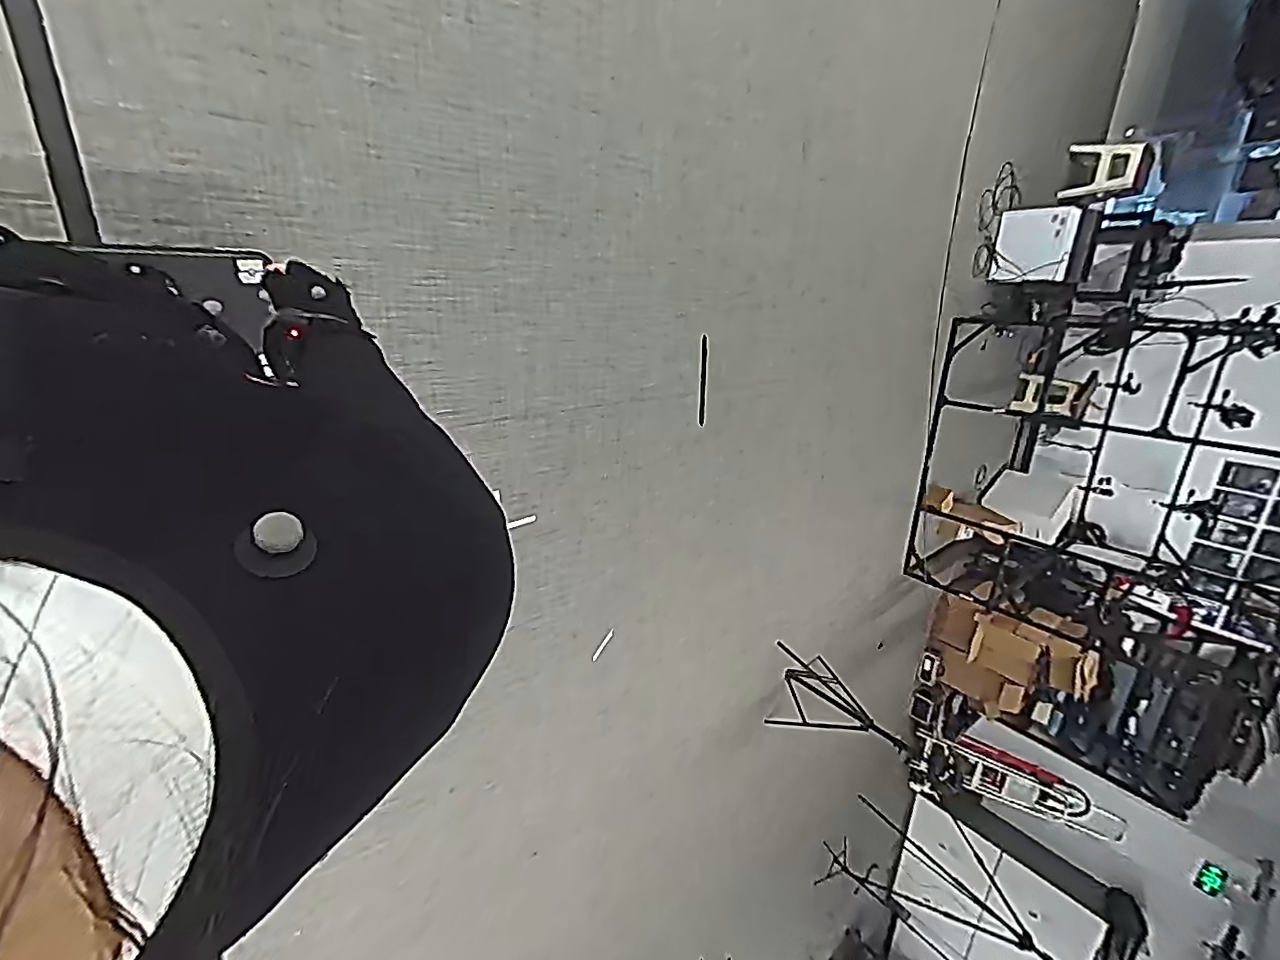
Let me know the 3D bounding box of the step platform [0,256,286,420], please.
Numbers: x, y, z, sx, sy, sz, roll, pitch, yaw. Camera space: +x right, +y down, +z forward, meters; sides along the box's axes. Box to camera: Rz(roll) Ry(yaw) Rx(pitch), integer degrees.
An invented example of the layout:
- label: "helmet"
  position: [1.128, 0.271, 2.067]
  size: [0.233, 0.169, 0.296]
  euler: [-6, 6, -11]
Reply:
- label: "step platform"
  position: [-1.111, -0.289, 1.069]
  size: [0.684, 0.204, 0.286]
  euler: [-16, 116, -38]
